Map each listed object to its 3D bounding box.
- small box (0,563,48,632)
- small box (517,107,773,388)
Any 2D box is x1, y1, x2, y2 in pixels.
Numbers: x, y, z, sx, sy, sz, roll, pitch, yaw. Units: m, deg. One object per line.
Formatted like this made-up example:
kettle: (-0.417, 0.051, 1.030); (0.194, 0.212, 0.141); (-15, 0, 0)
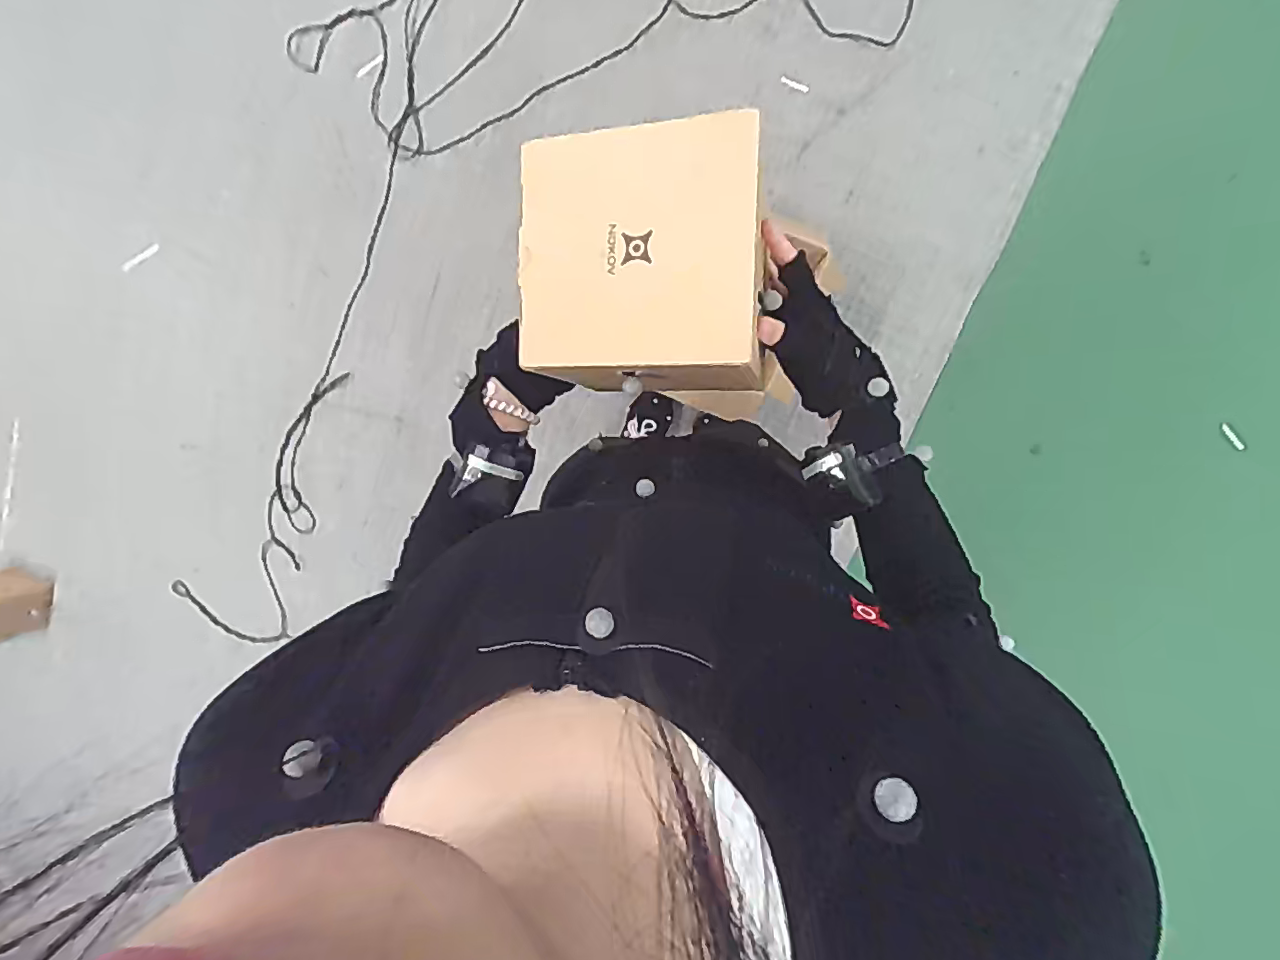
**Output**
small box: (-2.072, 0.382, 1.725); (0.179, 0.176, 0.168); (21, 102, 3)
small box: (0.016, -0.167, 0.449); (0.179, 0.176, 0.168); (2, 95, 17)
